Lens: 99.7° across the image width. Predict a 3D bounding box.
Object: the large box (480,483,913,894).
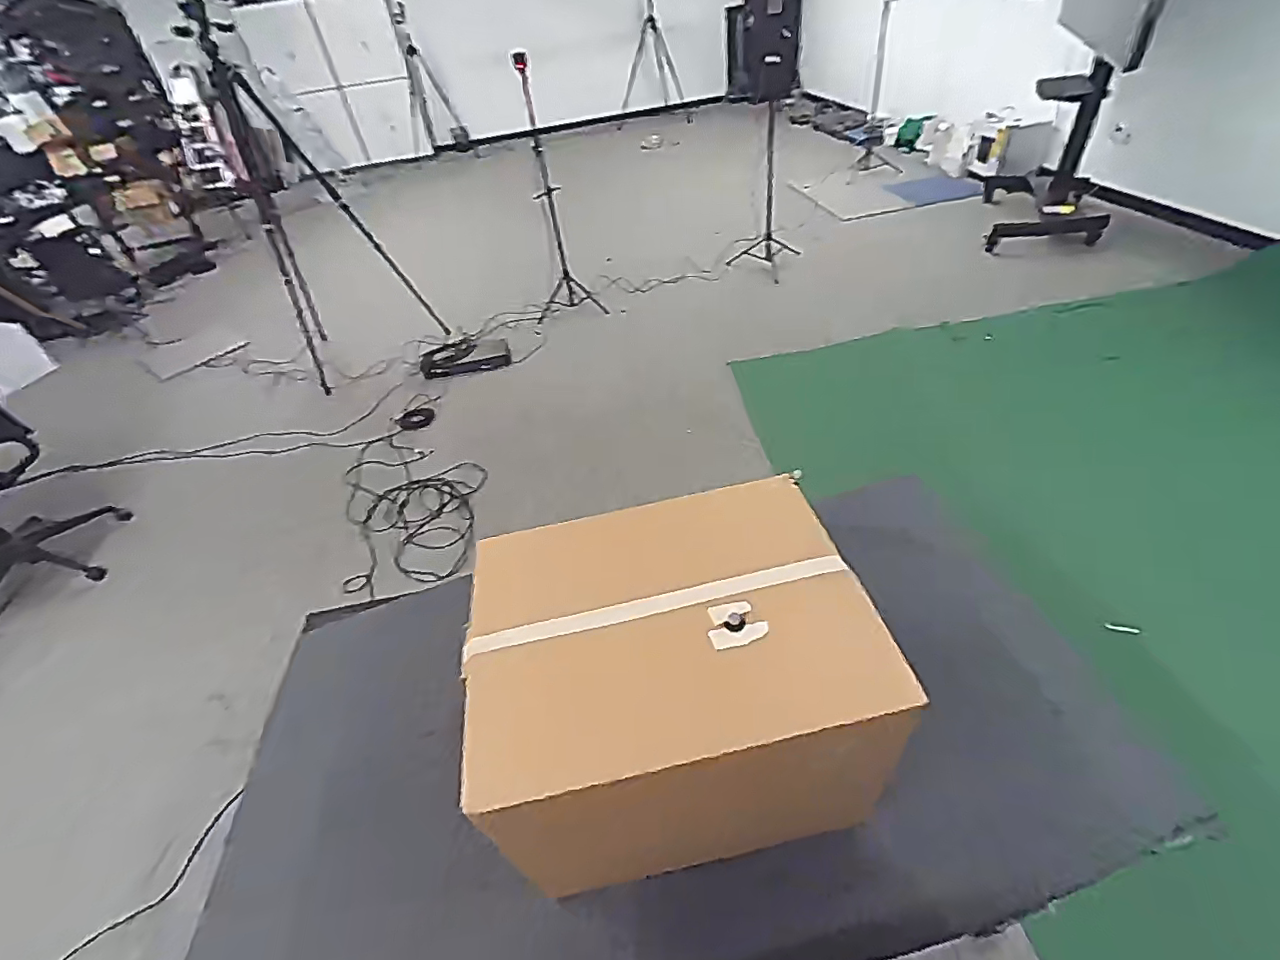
[{"bbox_3d":[0.044,0.253,0.678,0.408,0.320,0.320,-12,42,-3],"label":"large box"}]
